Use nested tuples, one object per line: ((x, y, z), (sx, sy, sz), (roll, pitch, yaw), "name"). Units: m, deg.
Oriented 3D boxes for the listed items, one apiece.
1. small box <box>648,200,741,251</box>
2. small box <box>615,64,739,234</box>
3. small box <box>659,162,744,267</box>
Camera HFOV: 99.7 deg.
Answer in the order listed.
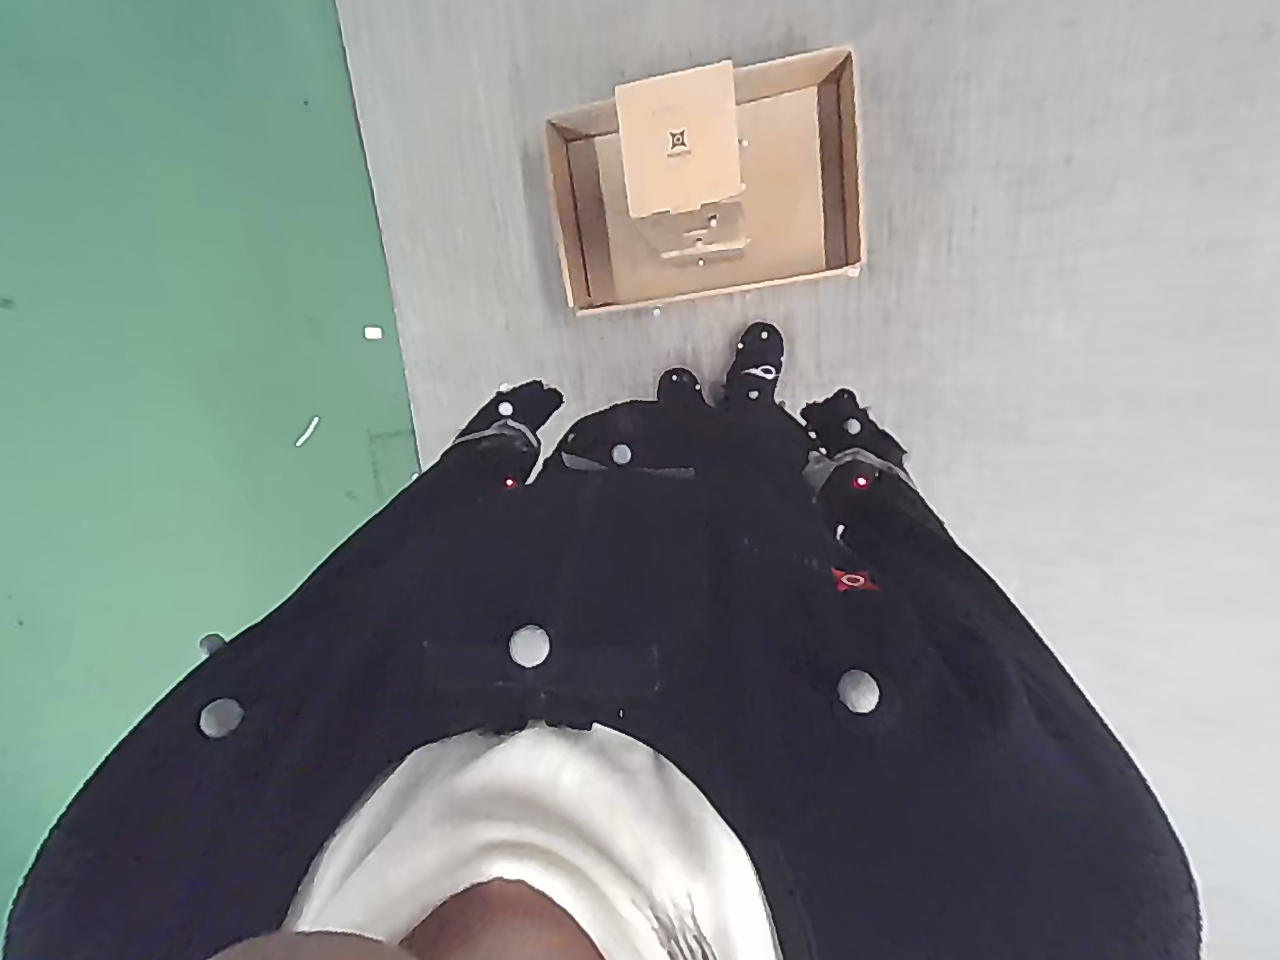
((0.098, -0.542, 1.017), (0.168, 0.176, 0.179), (-7, 102, 13), "small box")
((0.066, -0.496, 0.844), (0.168, 0.176, 0.179), (-5, 102, 10), "small box")
((0.134, -0.565, 1.172), (0.179, 0.176, 0.168), (-2, 103, 12), "small box")
